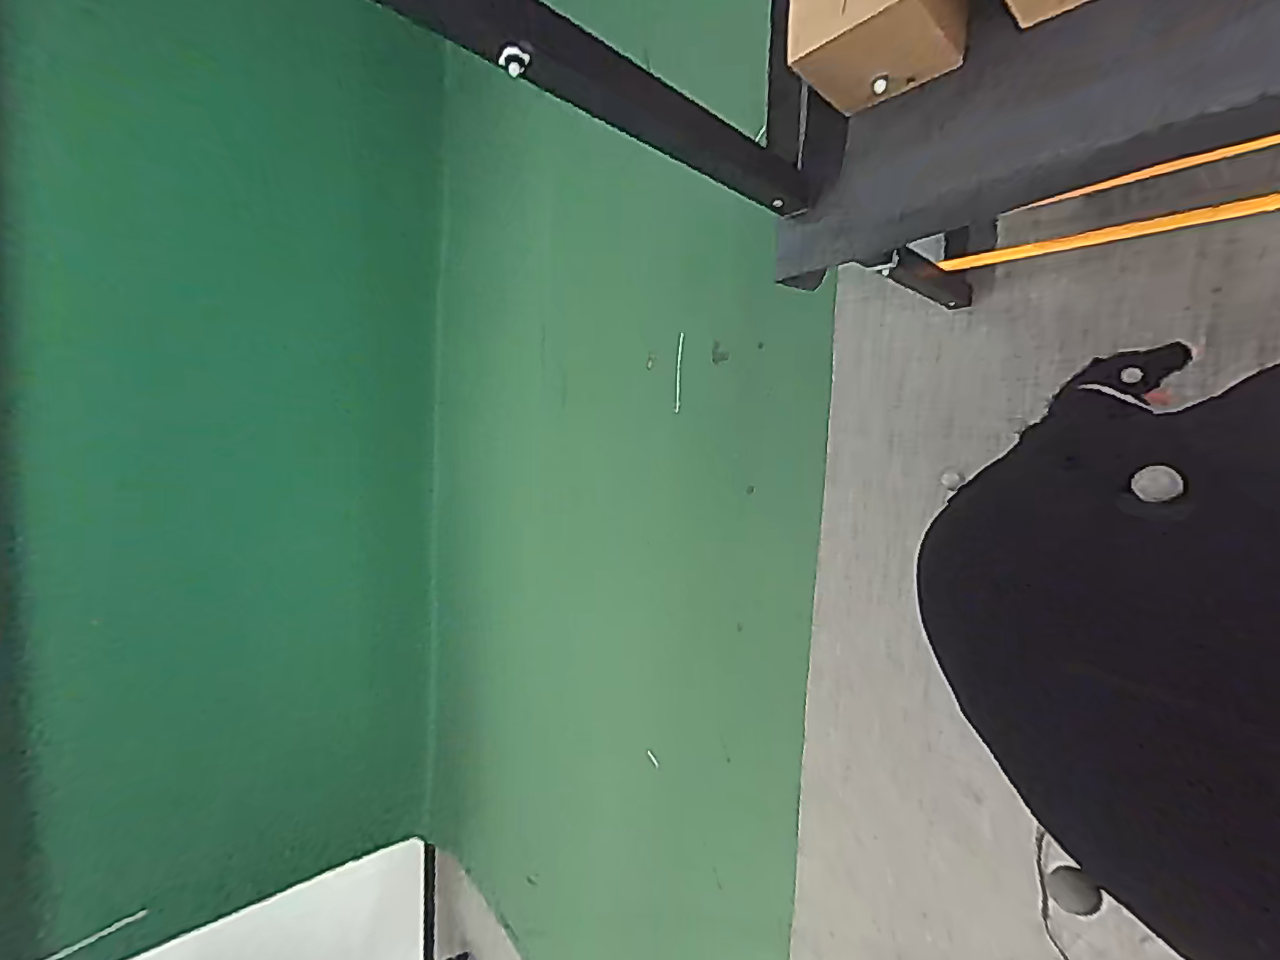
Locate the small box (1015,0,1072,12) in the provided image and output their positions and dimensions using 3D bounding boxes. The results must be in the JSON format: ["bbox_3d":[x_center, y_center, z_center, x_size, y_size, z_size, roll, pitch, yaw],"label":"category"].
[{"bbox_3d":[0.474,-0.637,0.552,0.168,0.176,0.179,8,96,48],"label":"small box"}]

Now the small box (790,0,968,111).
[{"bbox_3d":[0.321,-0.645,0.720,0.168,0.176,0.179,6,96,48],"label":"small box"}]
